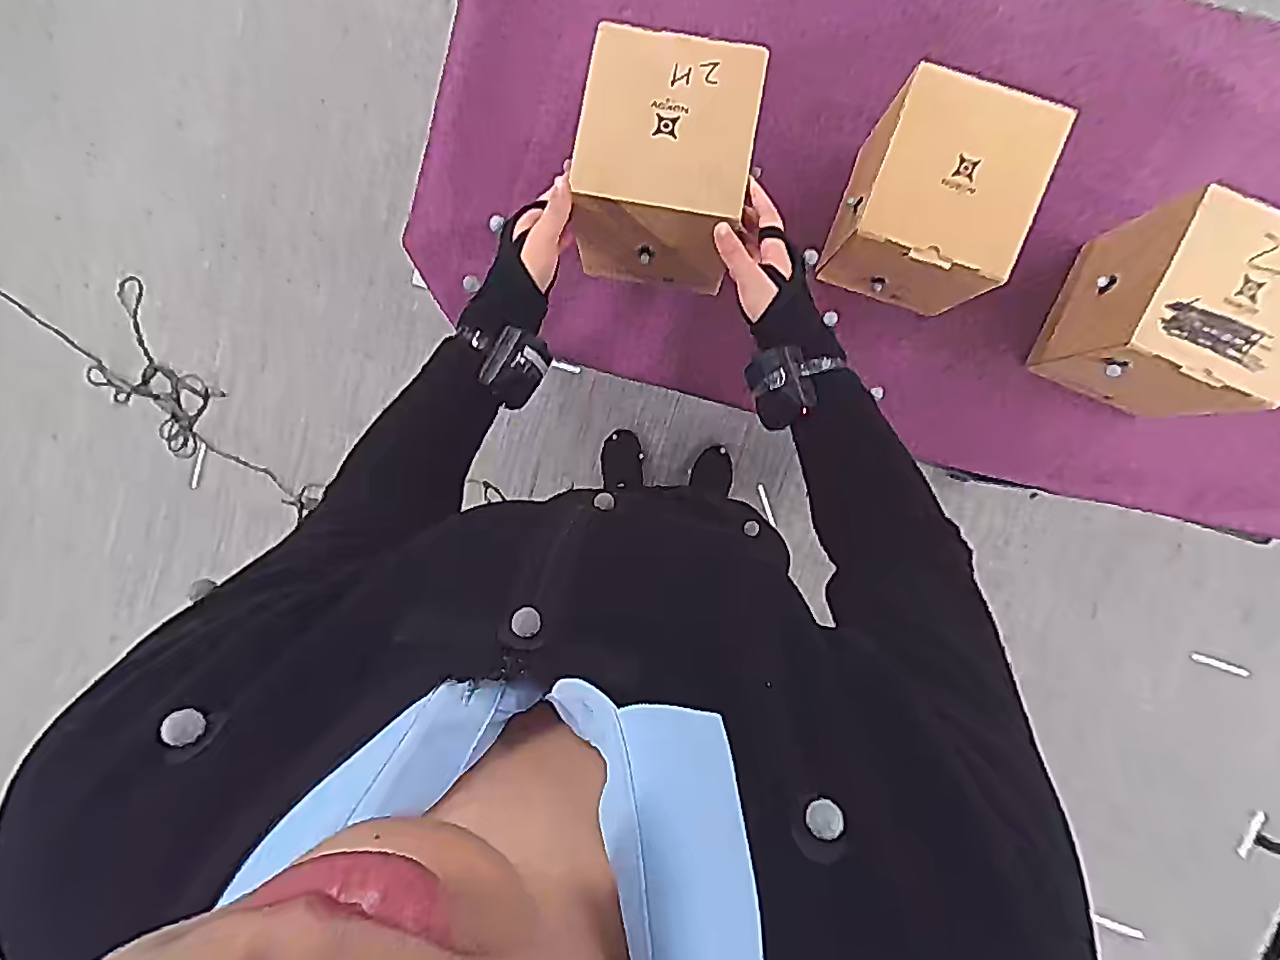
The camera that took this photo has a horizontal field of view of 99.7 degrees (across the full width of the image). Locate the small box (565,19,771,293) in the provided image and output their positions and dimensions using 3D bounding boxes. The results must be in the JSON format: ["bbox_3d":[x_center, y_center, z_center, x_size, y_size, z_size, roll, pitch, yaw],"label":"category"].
[{"bbox_3d":[0.027,-0.324,0.575,0.168,0.176,0.179,11,82,1],"label":"small box"}]

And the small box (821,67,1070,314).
[{"bbox_3d":[0.332,-0.316,0.631,0.168,0.176,0.179,19,96,1],"label":"small box"}]
